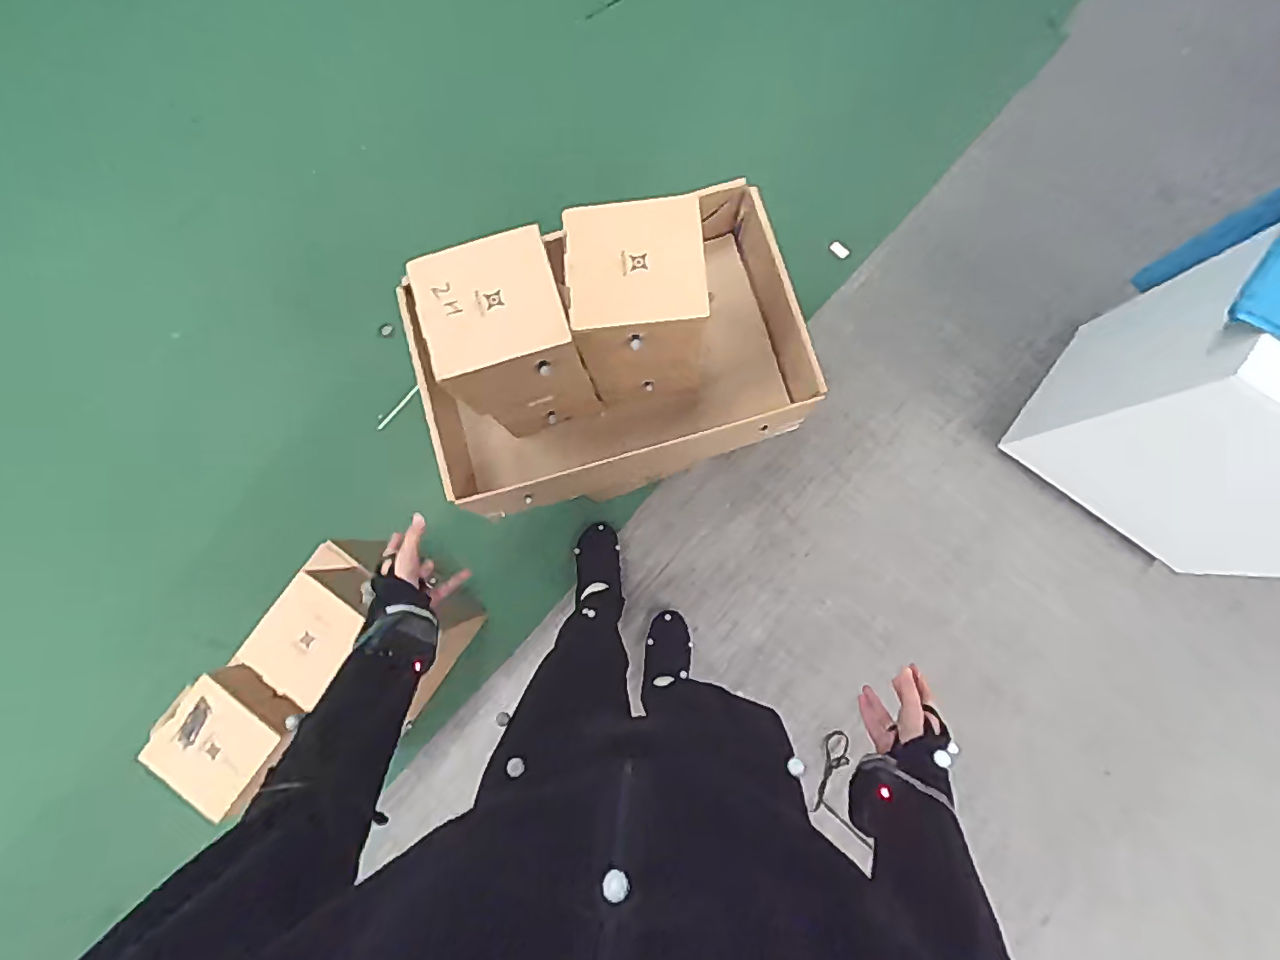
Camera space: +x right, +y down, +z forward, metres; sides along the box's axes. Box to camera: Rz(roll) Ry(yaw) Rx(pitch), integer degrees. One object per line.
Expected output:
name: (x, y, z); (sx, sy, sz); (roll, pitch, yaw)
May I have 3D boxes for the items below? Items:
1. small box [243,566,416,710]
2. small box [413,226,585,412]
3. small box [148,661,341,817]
small box: (-0.544, 0.273, 0.976); (0.168, 0.176, 0.179); (36, 85, 5)
small box: (-0.181, -0.212, 0.753); (0.179, 0.176, 0.168); (-17, 81, -1)
small box: (-0.686, 0.438, 0.958); (0.179, 0.176, 0.168); (36, 85, 6)
